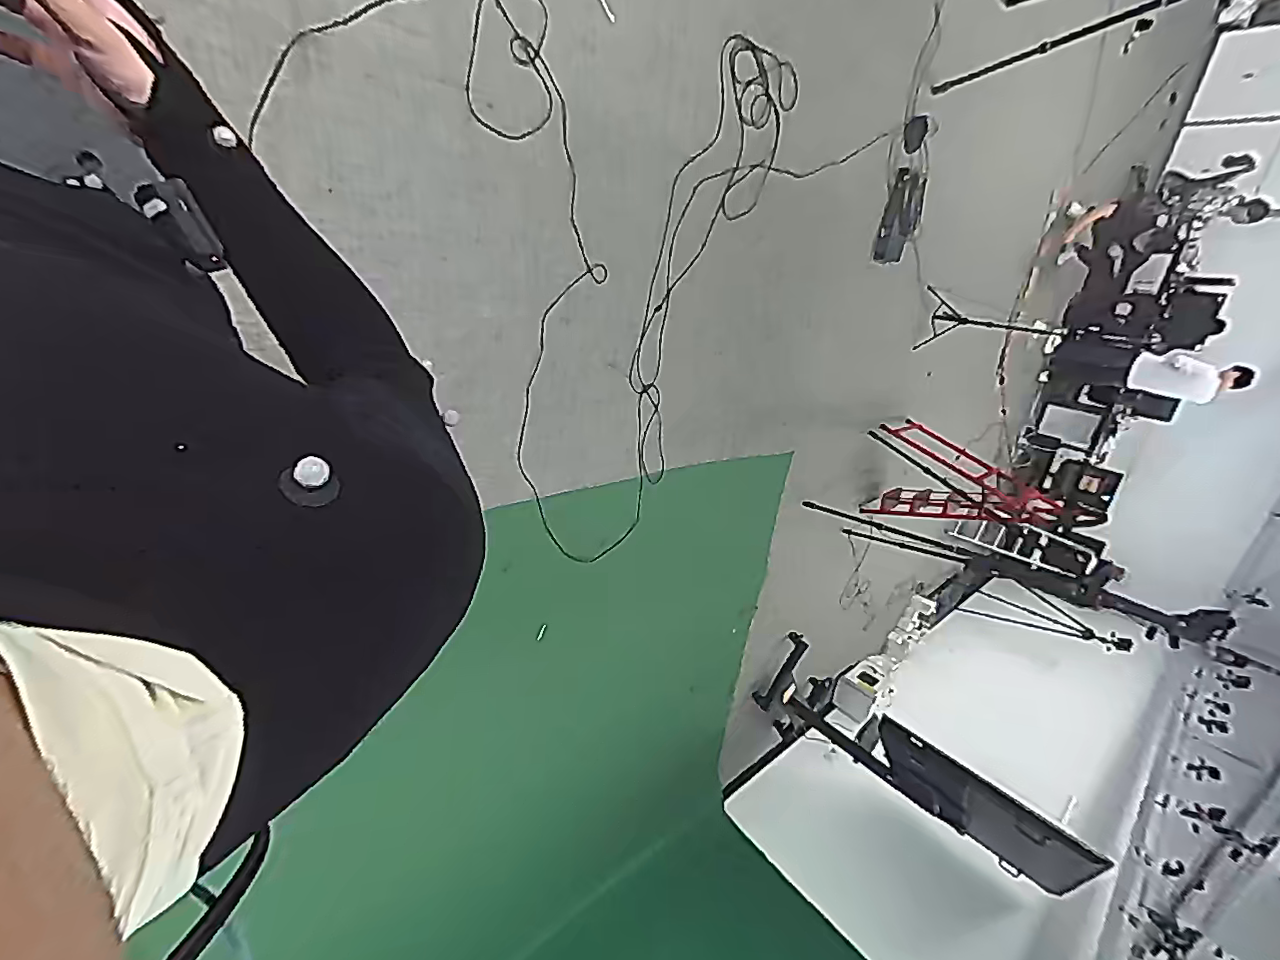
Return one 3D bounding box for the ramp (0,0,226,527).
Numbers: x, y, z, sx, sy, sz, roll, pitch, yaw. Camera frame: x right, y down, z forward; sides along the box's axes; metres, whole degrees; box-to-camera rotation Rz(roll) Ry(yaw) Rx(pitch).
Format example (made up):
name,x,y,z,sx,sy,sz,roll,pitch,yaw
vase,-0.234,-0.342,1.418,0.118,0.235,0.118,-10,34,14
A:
name,x,y,z,sx,sy,sz,roll,pitch,yaw
ramp,-1.212,-0.408,1.053,0.509,0.206,0.991,-14,119,-37
